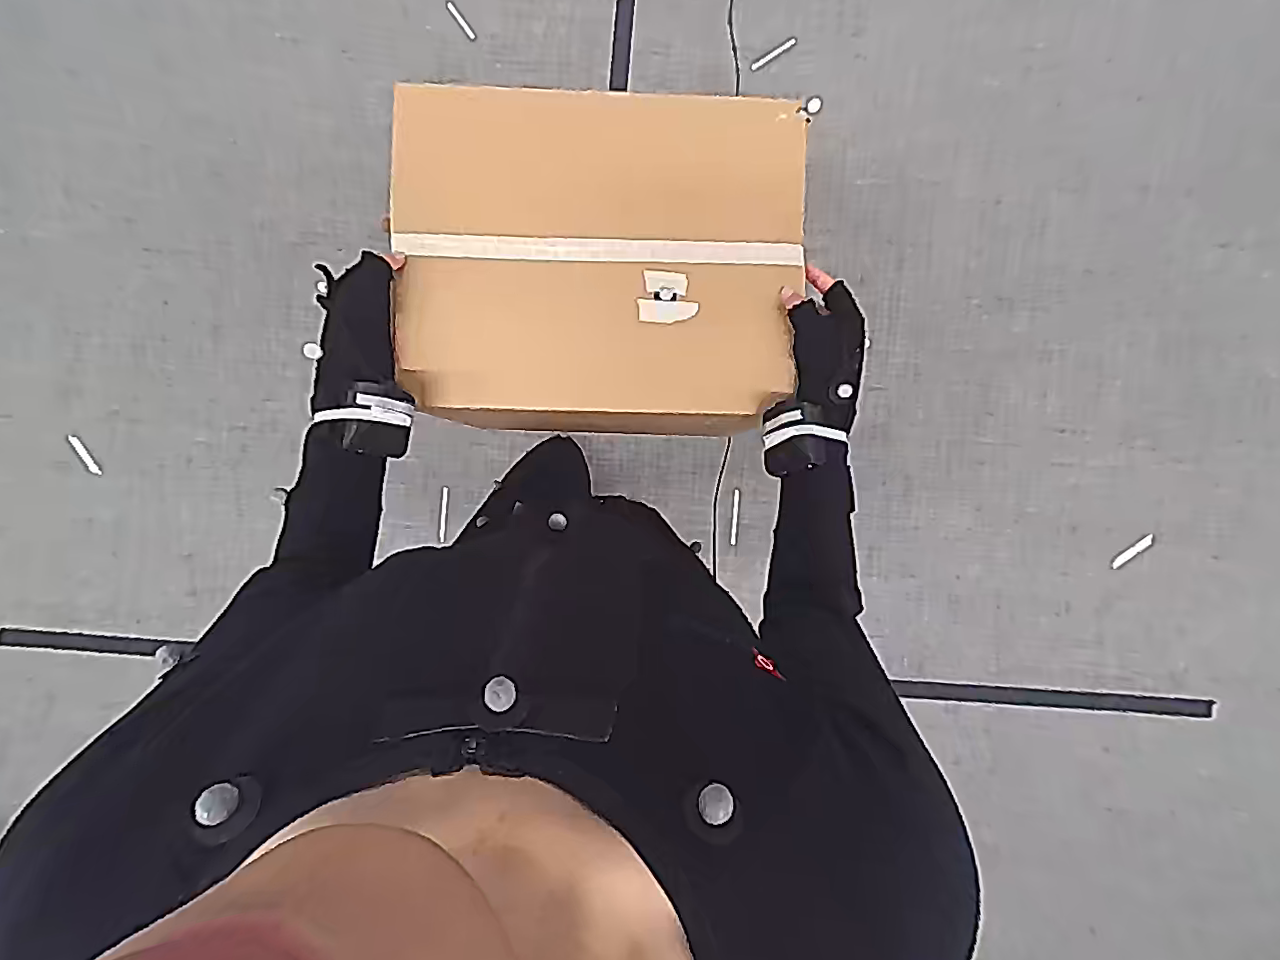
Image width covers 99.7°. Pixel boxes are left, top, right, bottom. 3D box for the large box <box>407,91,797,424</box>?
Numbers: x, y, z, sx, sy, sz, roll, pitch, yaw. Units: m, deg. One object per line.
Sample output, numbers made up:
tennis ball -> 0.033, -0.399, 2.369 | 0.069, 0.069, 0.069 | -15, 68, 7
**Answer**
large box -> -0.044, -0.240, 0.701 | 0.408, 0.320, 0.320 | 1, 92, -2
